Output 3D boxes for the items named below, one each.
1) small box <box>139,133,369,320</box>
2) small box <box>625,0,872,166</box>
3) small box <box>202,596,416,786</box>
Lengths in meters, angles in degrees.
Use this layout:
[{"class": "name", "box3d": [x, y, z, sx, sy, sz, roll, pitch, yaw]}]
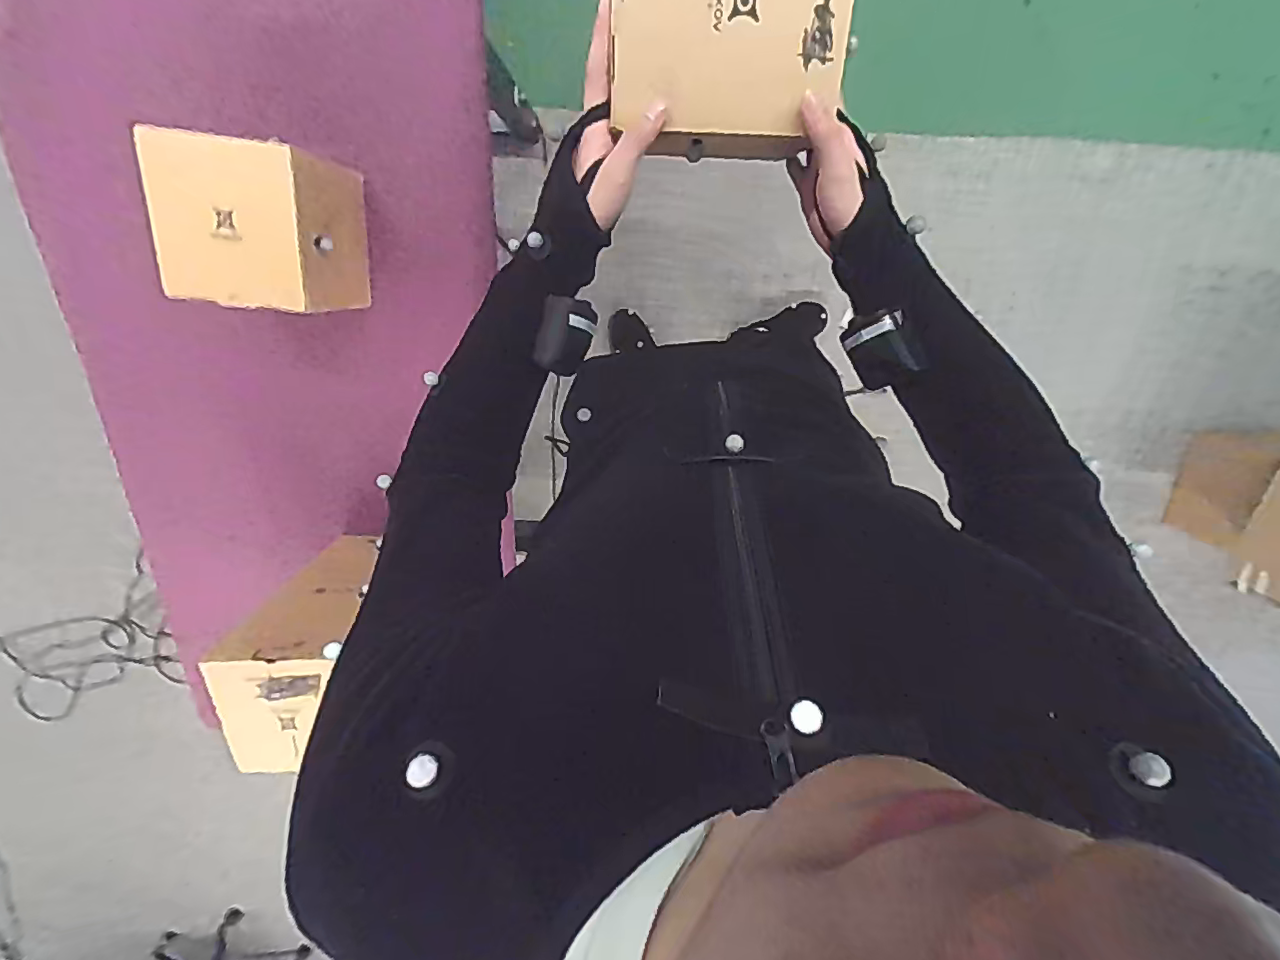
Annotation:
[{"class": "small box", "box3d": [-0.461, -0.307, 0.680, 0.168, 0.176, 0.179, 6, 111, -4]}, {"class": "small box", "box3d": [0.081, -0.374, 0.463, 0.179, 0.176, 0.168, 3, 115, -1]}, {"class": "small box", "box3d": [-0.415, 0.267, 0.714, 0.168, 0.176, 0.179, -1, 110, -1]}]
